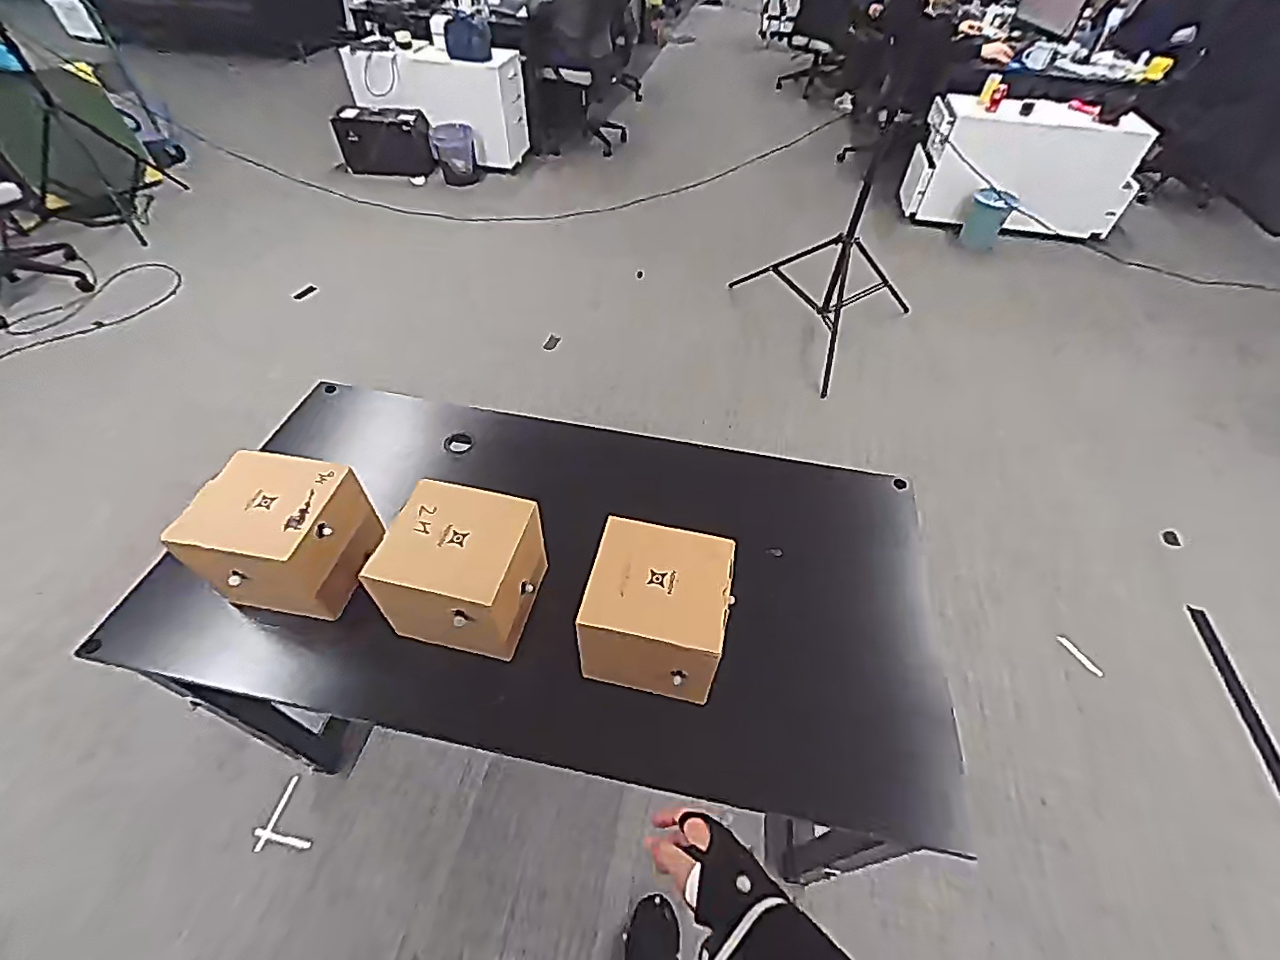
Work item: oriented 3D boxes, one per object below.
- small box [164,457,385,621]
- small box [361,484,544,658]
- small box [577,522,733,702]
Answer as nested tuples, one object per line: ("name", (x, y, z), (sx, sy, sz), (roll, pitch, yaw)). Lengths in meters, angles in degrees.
("small box", (-0.515, 0.089, 0.795), (0.179, 0.176, 0.168), (8, 49, 4))
("small box", (-0.246, 0.133, 0.768), (0.179, 0.176, 0.168), (10, 49, 7))
("small box", (0.020, 0.183, 0.738), (0.179, 0.176, 0.168), (9, 47, 5))
